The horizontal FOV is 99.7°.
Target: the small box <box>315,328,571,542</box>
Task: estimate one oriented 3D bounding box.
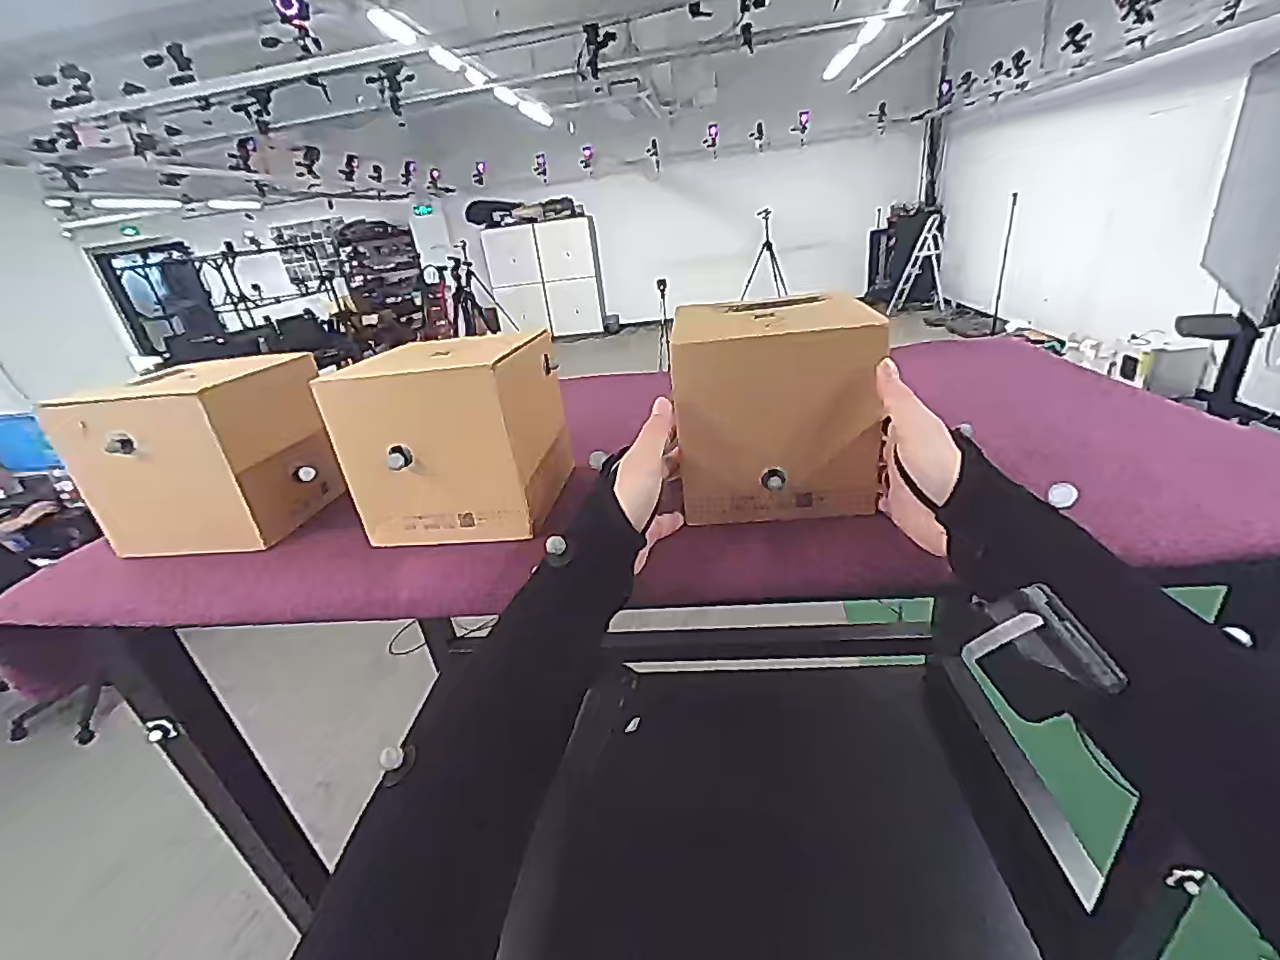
[{"bbox_3d":[-0.176,-0.046,0.550,0.168,0.176,0.179,-4,24,8],"label":"small box"}]

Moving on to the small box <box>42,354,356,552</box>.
[{"bbox_3d":[-0.455,-0.032,0.593,0.179,0.176,0.168,-3,25,7],"label":"small box"}]
